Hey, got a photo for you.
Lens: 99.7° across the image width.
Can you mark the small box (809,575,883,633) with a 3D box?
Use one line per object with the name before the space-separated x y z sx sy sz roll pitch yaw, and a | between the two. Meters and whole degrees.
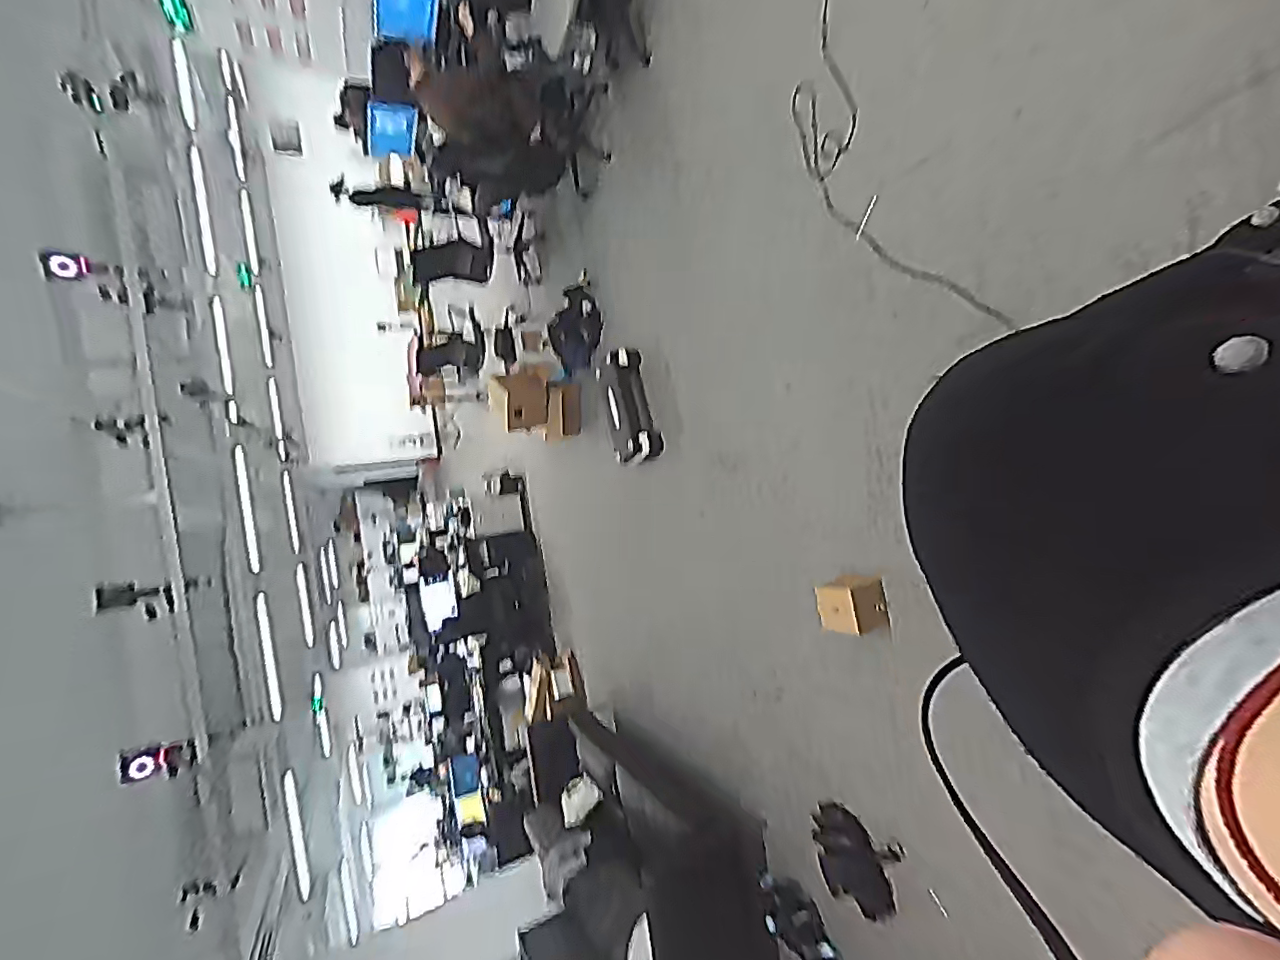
small box | 0.764 0.455 2.007 0.179 0.176 0.168 -16 85 61
